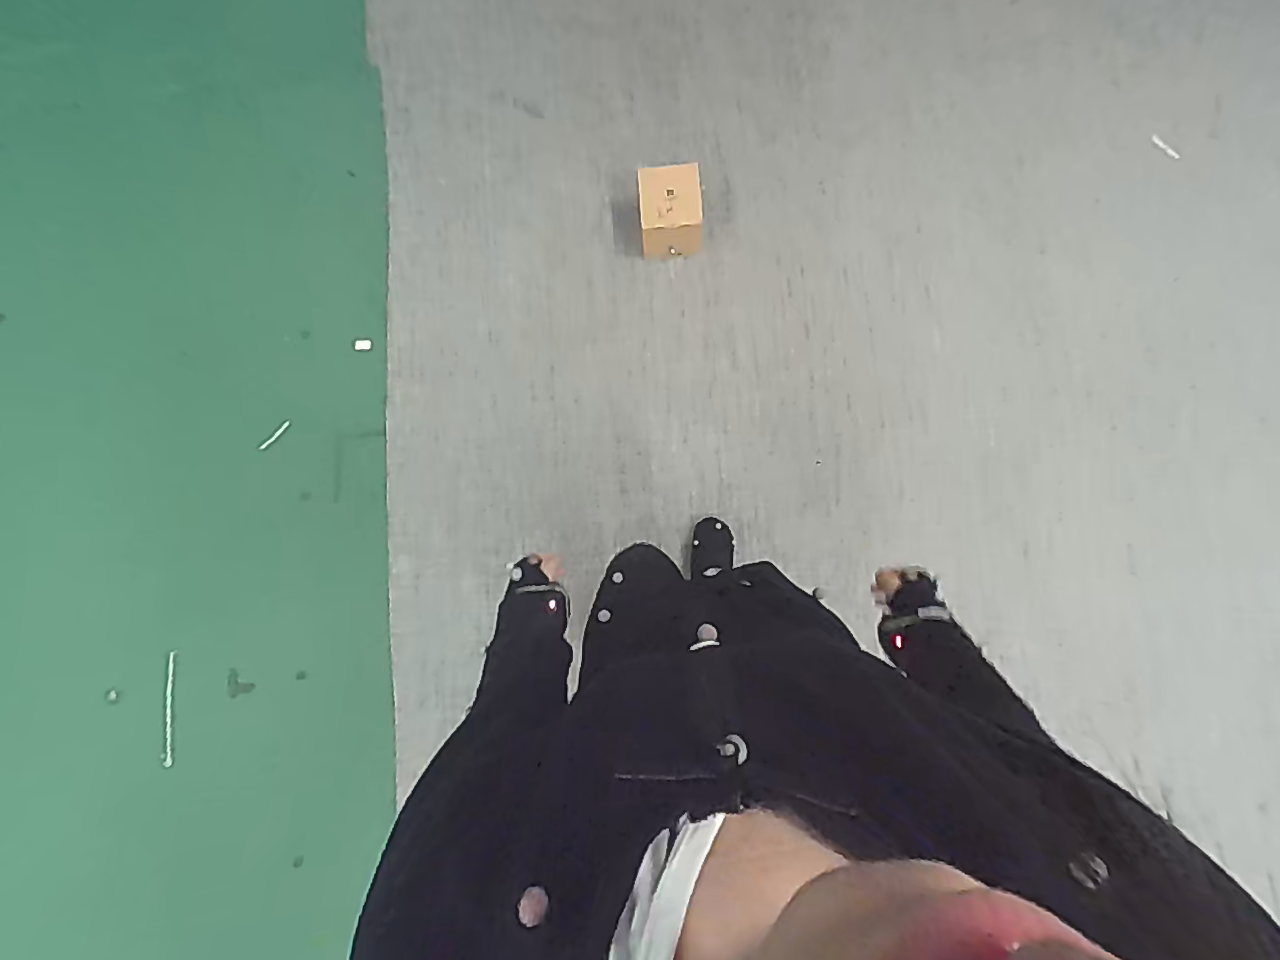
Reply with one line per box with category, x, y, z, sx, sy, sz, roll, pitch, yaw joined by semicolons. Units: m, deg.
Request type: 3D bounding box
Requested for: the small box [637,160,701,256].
small box;0.080;-0.753;1.510;0.168;0.176;0.179;-3;85;3
